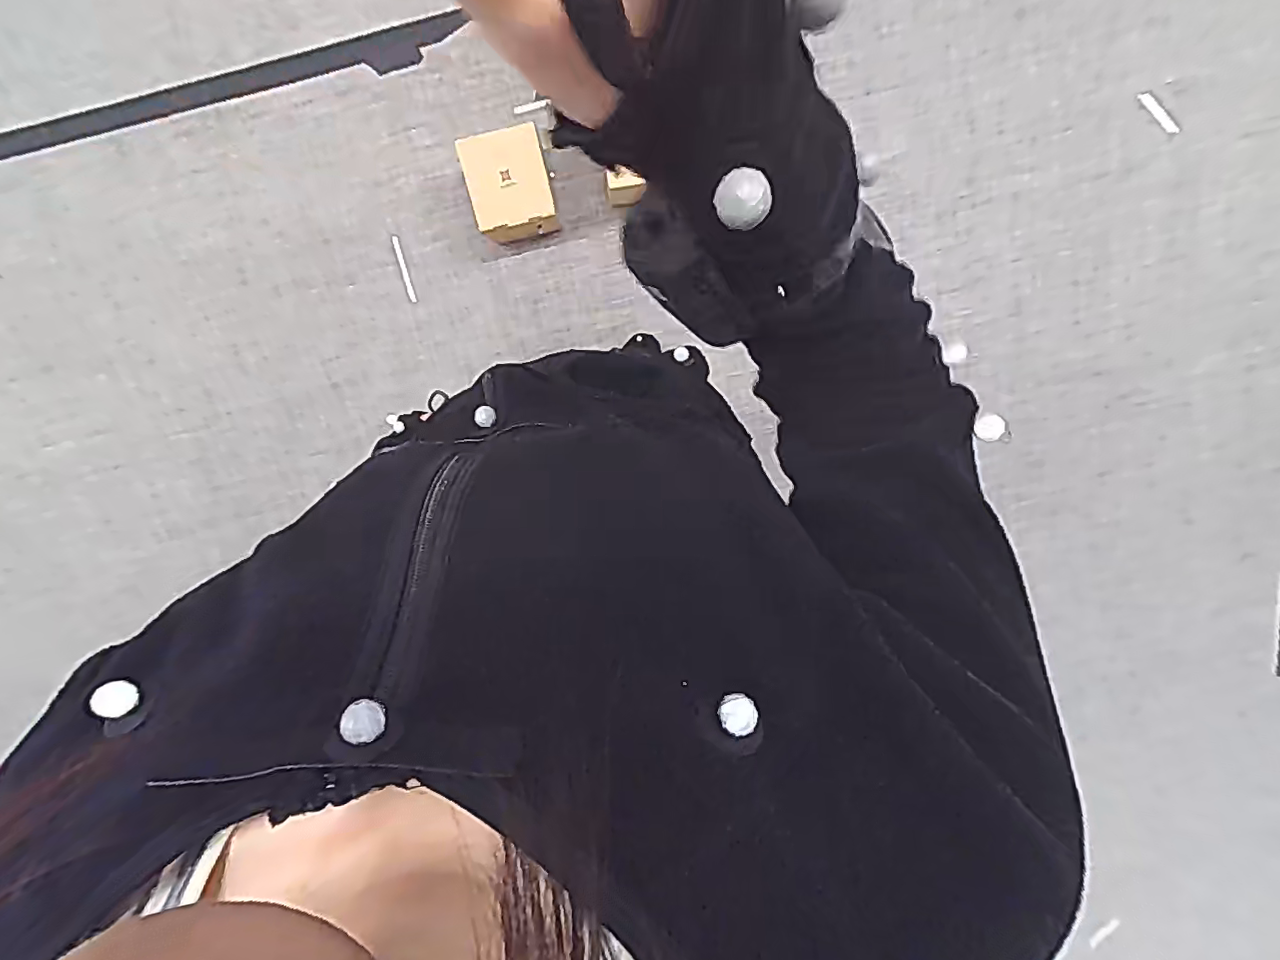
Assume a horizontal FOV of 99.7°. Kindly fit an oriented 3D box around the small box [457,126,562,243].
[{"bbox_3d":[-0.274,-0.630,1.178,0.168,0.176,0.179,-14,104,0],"label":"small box"}]

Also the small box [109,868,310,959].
[{"bbox_3d":[-0.616,0.695,0.762,0.179,0.176,0.168,-12,107,1],"label":"small box"}]

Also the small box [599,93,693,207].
[{"bbox_3d":[0.008,-0.705,1.171,0.179,0.176,0.168,-8,106,-1],"label":"small box"}]
